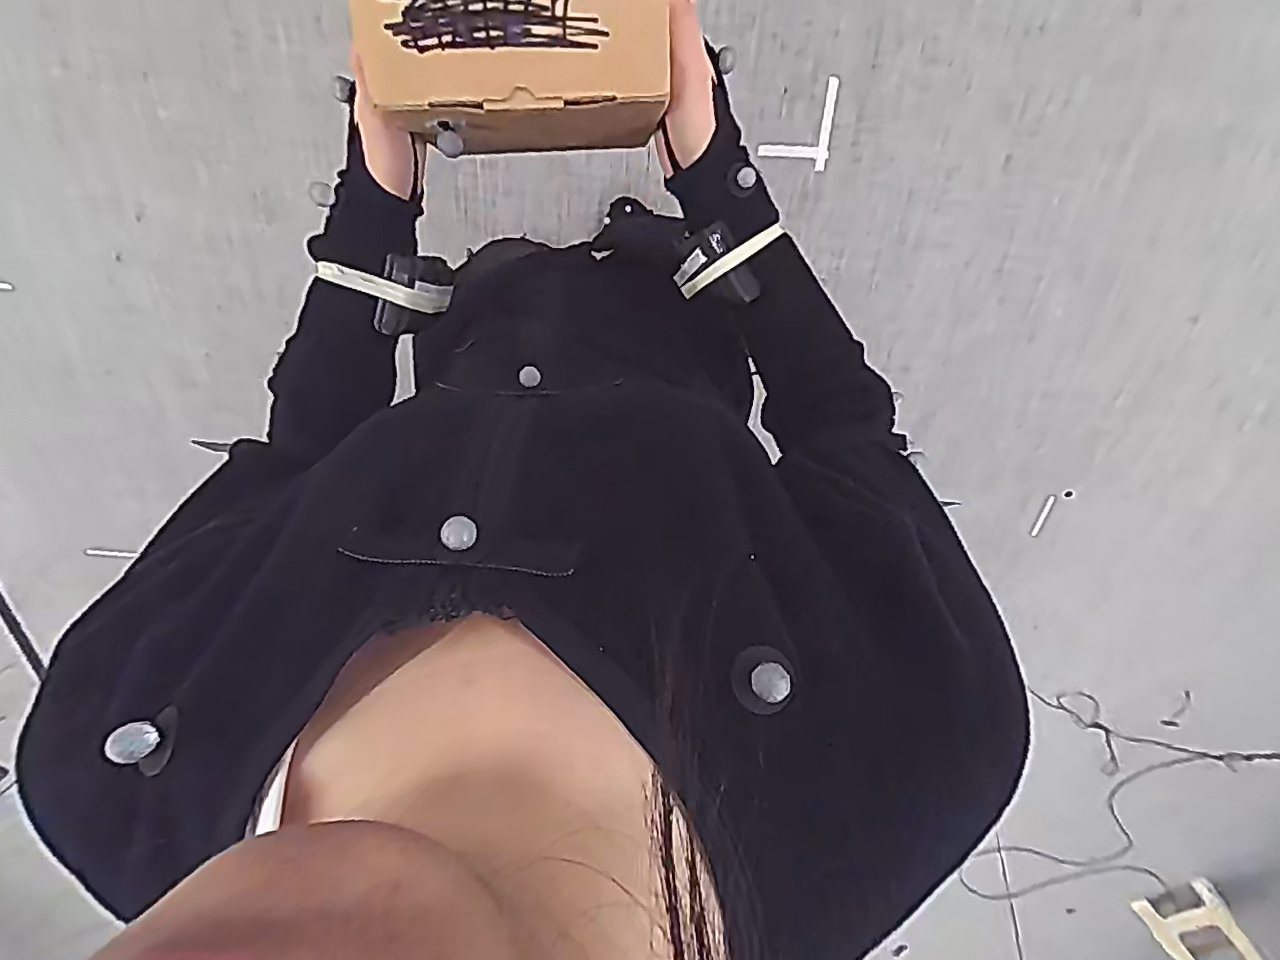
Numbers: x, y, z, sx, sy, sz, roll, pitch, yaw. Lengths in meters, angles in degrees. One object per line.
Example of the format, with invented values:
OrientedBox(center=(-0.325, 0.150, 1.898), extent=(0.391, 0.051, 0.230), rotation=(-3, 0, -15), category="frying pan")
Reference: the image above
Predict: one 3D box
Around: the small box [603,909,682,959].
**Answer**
OrientedBox(center=(0.002, 1.115, 1.232), extent=(0.179, 0.176, 0.168), rotation=(2, 119, -1), category="small box")
